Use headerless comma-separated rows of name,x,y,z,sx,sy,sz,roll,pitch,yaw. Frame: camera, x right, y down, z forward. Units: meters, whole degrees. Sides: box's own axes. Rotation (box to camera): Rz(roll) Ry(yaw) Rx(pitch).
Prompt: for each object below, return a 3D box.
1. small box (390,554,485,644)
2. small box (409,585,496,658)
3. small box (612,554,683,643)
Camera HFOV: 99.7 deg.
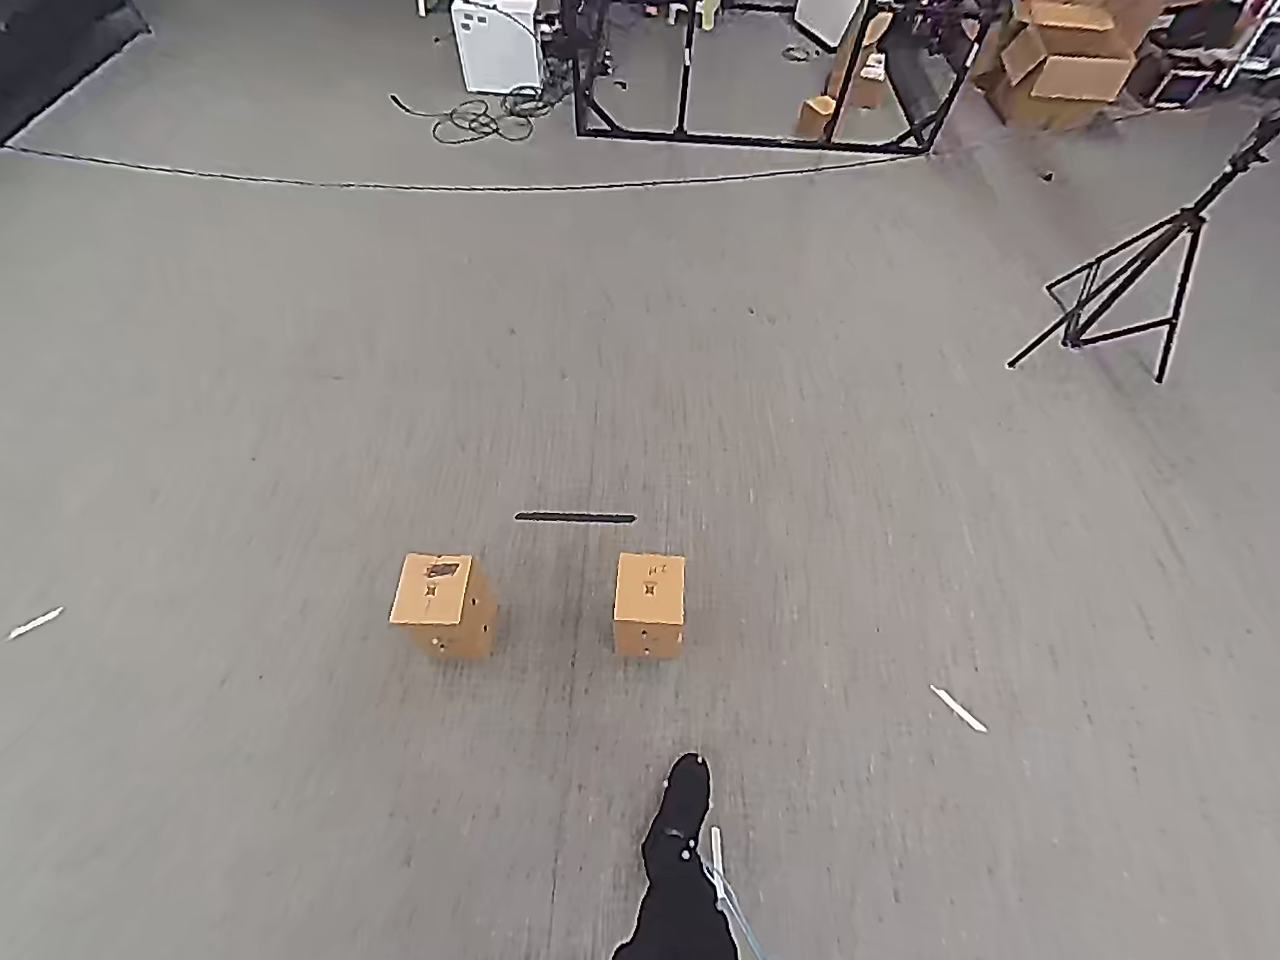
small box,-0.499,0.302,1.362,0.168,0.176,0.179,2,59,0
small box,-0.510,0.391,1.500,0.179,0.176,0.168,2,58,-1
small box,0.019,0.308,1.380,0.168,0.176,0.179,5,58,0
